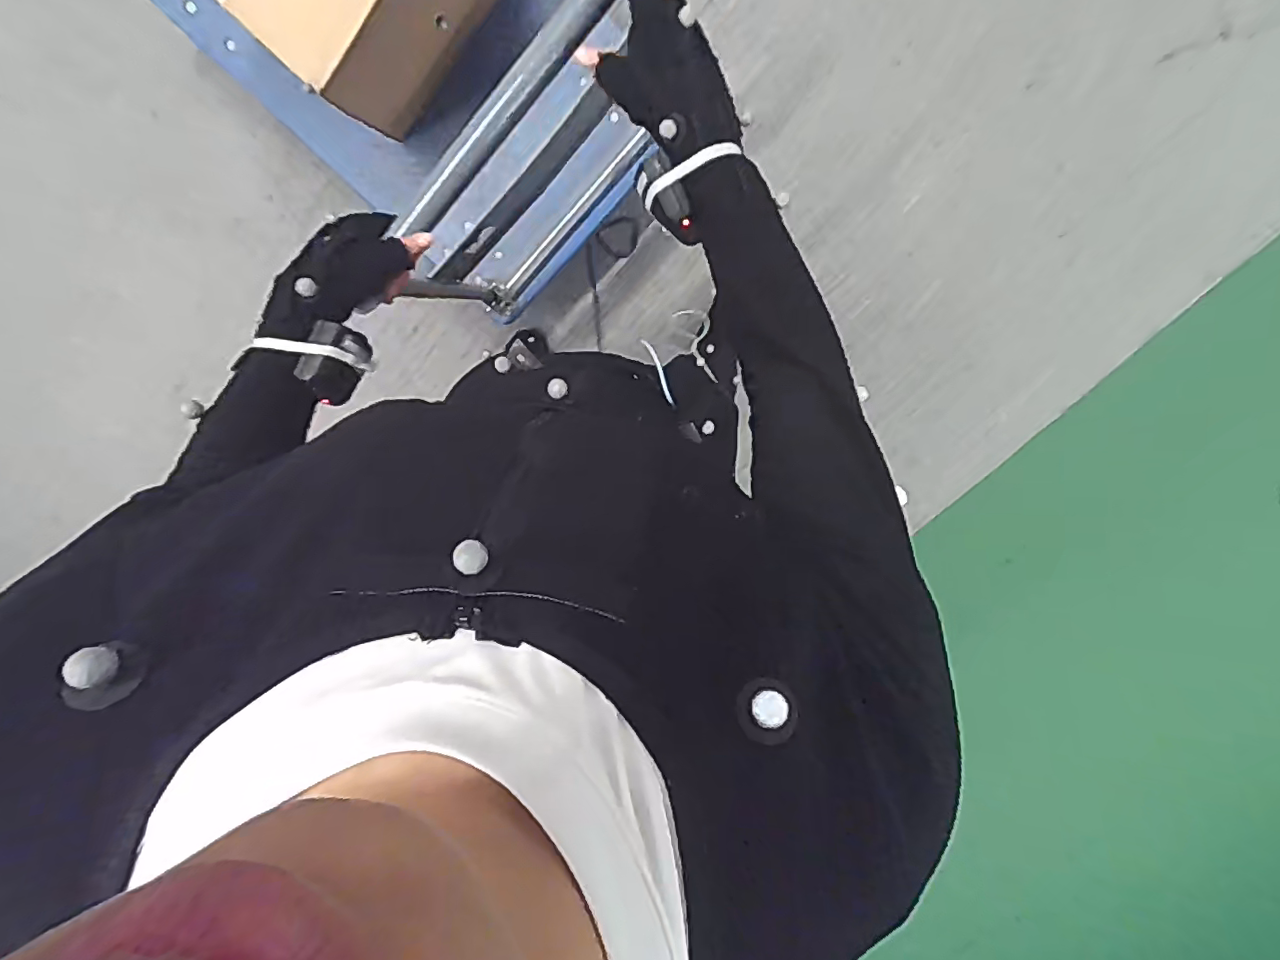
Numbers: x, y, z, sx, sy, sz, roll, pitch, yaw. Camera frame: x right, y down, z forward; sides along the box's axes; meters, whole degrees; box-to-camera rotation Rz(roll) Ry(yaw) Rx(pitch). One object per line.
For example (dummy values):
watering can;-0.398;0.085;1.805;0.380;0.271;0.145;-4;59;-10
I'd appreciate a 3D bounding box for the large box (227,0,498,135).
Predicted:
large box;-0.429;-0.848;0.835;0.320;0.320;0.408;40;106;-15
